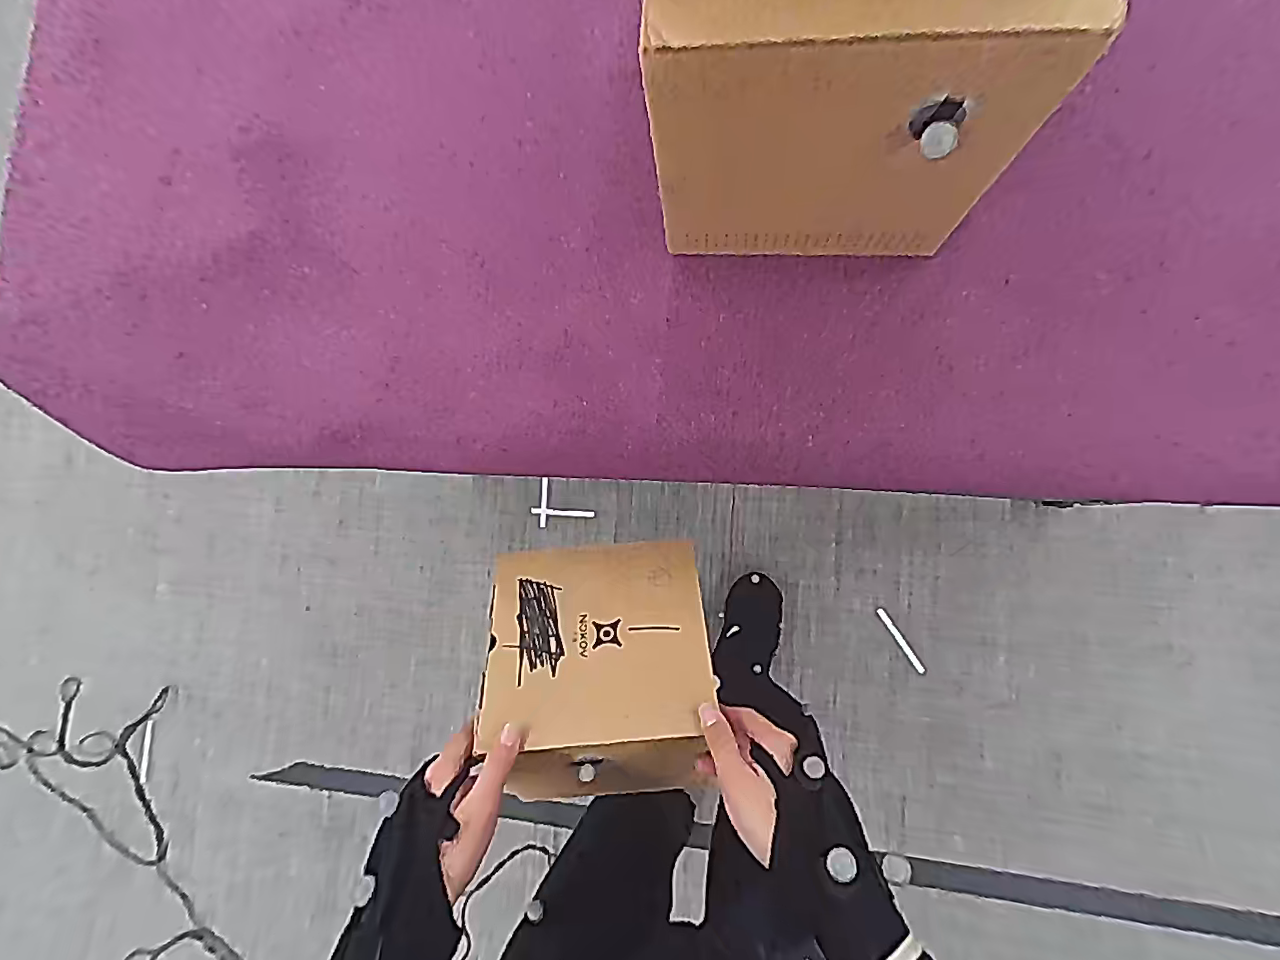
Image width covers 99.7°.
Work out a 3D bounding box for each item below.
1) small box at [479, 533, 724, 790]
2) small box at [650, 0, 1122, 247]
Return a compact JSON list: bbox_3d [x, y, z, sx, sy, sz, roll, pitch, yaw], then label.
[{"bbox_3d":[-0.027,0.167,0.487,0.179,0.176,0.168,-4,49,-1],"label":"small box"},{"bbox_3d":[0.105,-0.244,0.291,0.179,0.176,0.168,4,85,7],"label":"small box"}]
